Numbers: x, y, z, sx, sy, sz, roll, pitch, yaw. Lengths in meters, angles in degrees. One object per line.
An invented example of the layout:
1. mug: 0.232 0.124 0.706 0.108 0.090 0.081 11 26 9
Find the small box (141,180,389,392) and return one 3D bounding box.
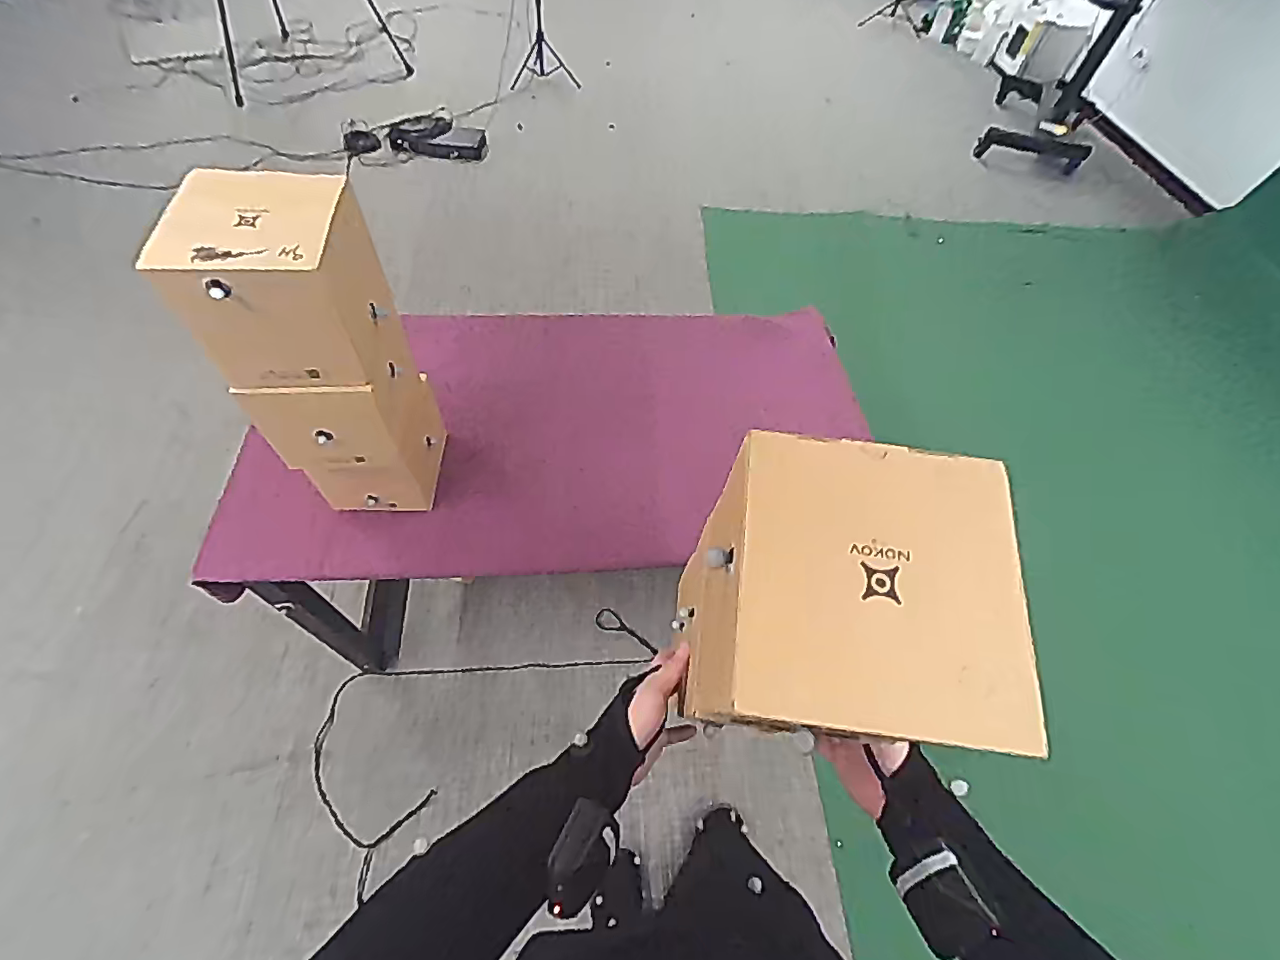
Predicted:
1. small box: -0.414 -0.225 0.640 0.168 0.176 0.179 -3 57 -7

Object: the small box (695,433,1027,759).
1. small box: 0.134 0.089 0.393 0.168 0.176 0.179 7 66 3

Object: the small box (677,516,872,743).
1. small box: 0.129 0.153 0.542 0.168 0.176 0.179 7 66 3

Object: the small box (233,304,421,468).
1. small box: -0.426 -0.128 0.773 0.168 0.176 0.179 -1 58 -7
